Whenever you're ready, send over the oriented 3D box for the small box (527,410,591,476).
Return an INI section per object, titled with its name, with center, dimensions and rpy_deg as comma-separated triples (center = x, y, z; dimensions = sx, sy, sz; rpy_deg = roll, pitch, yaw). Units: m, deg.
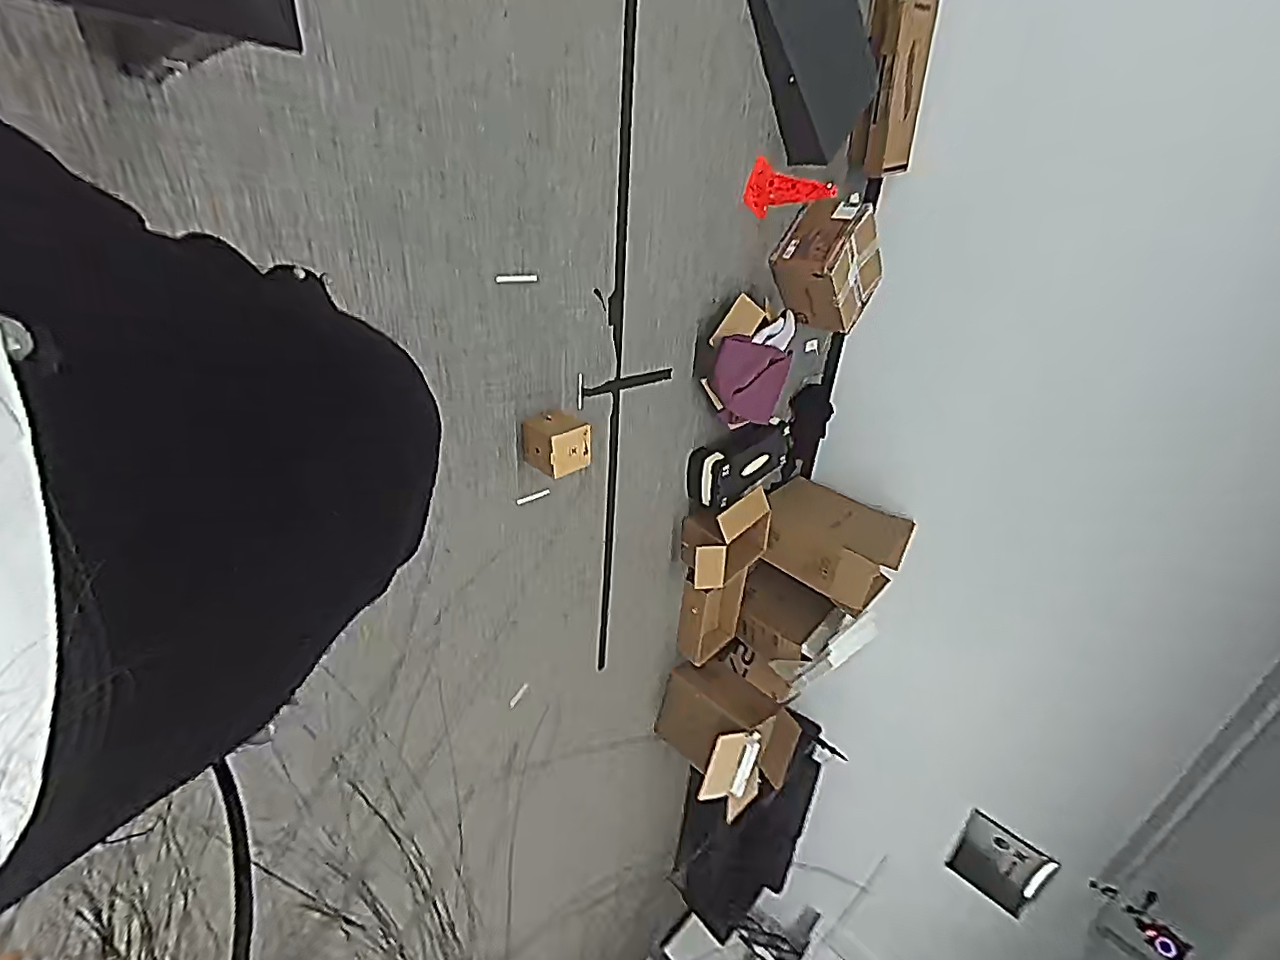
[small box]
center = -0.295, -0.137, 1.951
dimensions = 0.179, 0.176, 0.168
rpy_deg = -24, 129, -39
